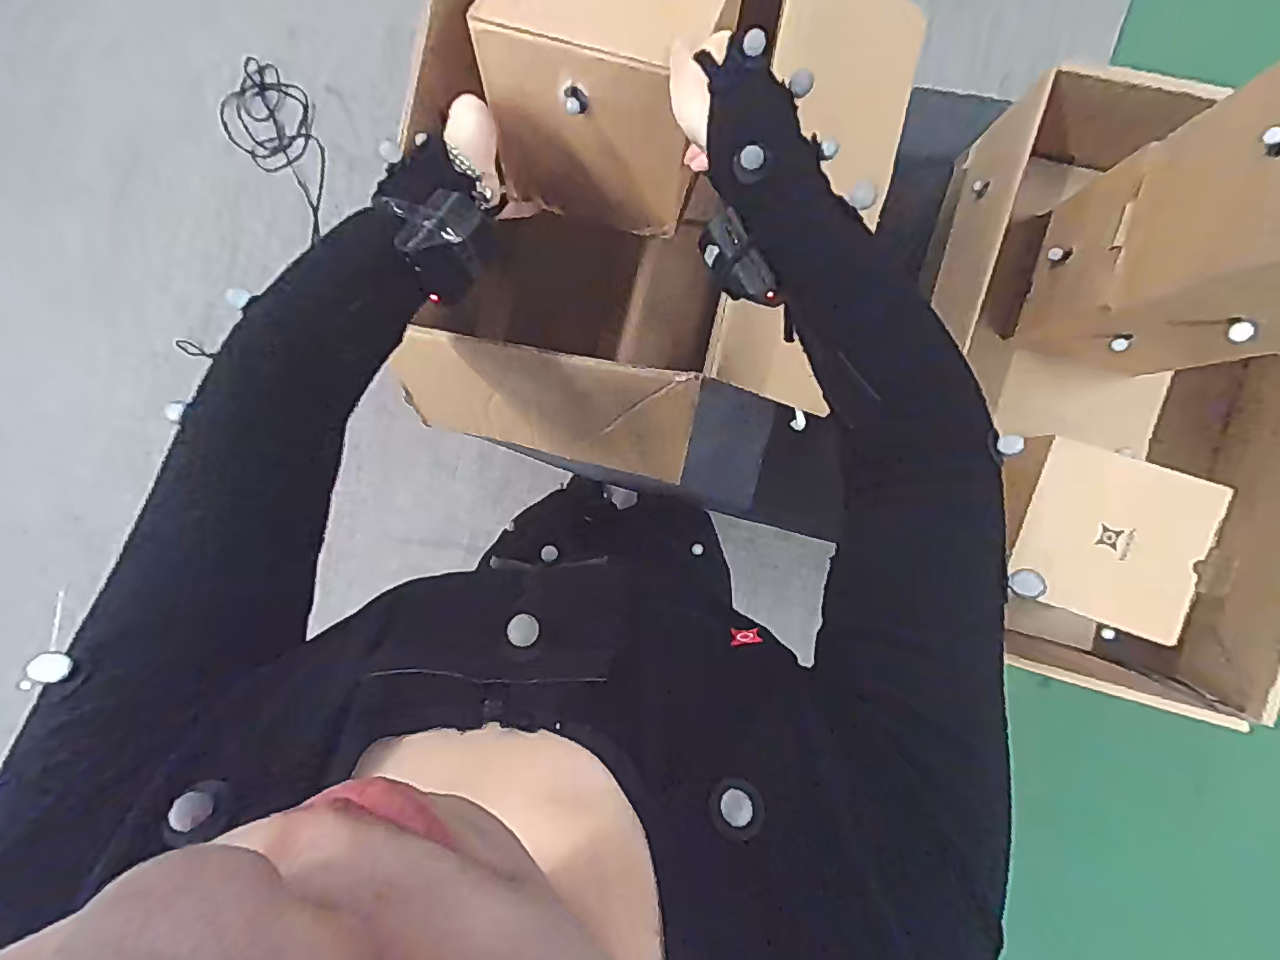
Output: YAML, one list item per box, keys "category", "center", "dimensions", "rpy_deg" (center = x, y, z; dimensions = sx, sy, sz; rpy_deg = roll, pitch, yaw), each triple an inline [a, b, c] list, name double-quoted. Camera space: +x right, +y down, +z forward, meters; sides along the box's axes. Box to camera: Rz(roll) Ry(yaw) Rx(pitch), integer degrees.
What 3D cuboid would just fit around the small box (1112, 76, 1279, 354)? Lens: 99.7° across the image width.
- category: "small box"
  center: [0.546, -0.218, 0.440]
  dimensions: [0.168, 0.176, 0.179]
  rpy_deg: [15, 95, 4]
